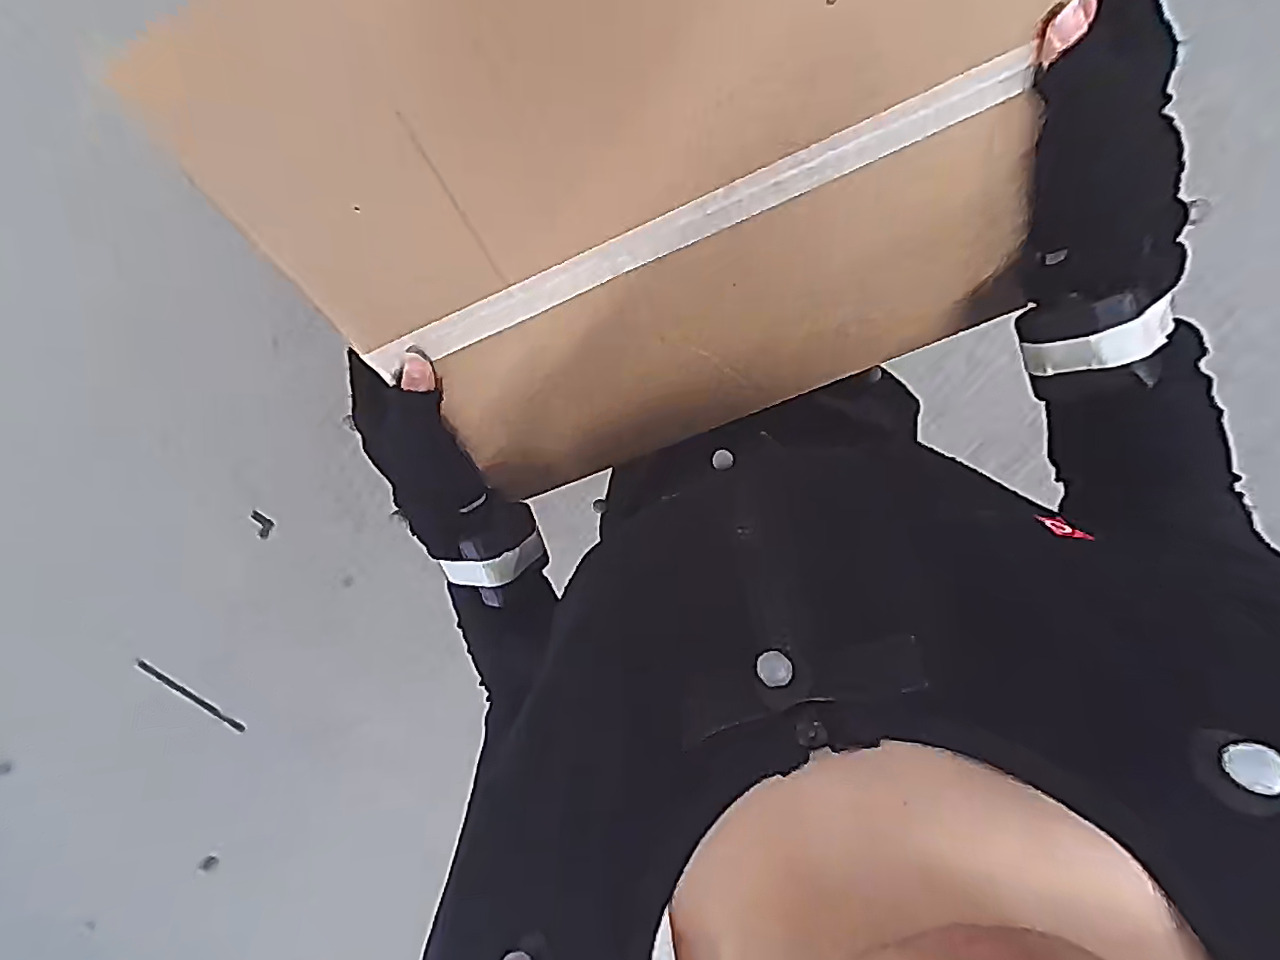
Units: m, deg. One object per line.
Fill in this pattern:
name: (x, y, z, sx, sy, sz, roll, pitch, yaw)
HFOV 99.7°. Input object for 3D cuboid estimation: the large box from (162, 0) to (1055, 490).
large box: (0.000, -0.257, 0.407, 0.408, 0.320, 0.320, -20, 138, 10)
